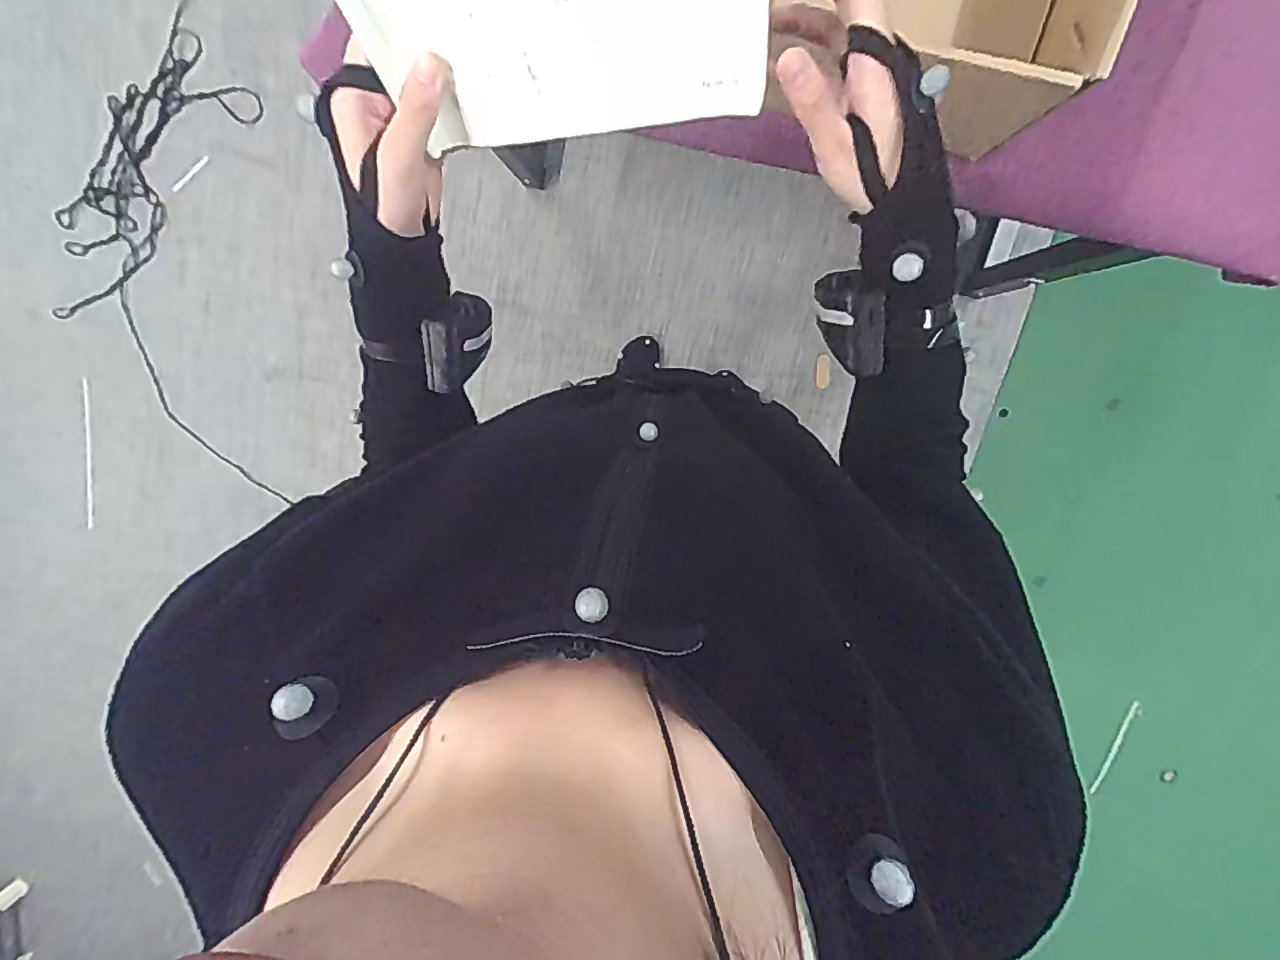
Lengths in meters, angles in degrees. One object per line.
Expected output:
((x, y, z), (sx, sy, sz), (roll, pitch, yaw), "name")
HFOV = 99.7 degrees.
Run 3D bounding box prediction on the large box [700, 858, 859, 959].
((0.389, 1.377, 1.594), (0.408, 0.320, 0.320), (-1, 102, 4), "large box")
